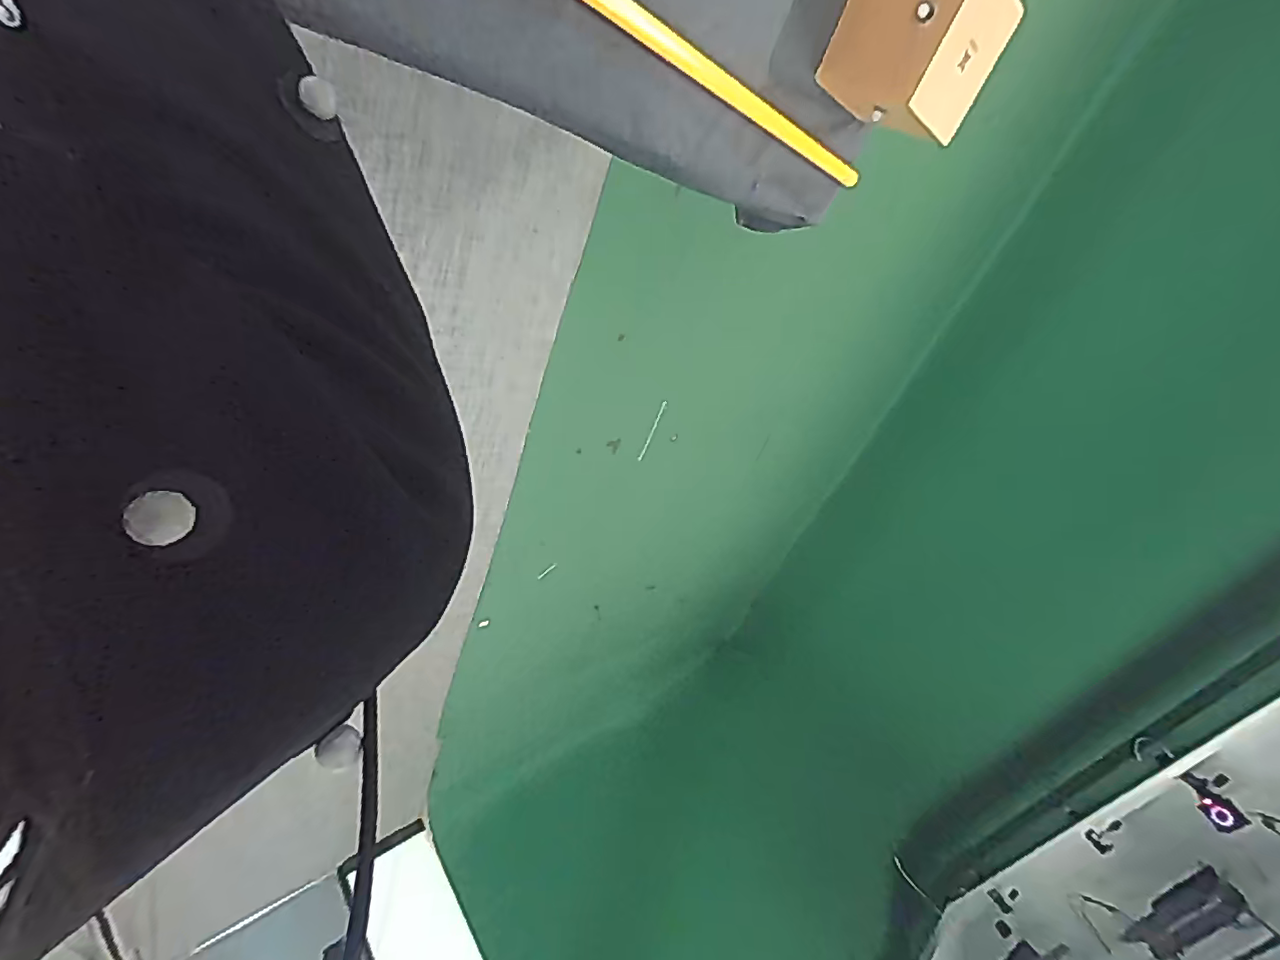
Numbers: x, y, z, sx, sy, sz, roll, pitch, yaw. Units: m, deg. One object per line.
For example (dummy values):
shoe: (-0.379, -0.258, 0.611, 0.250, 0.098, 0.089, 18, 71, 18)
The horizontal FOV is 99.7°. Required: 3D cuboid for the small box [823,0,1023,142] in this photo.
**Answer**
small box: (0.391, -0.625, 0.771, 0.168, 0.176, 0.179, -8, 131, -44)
